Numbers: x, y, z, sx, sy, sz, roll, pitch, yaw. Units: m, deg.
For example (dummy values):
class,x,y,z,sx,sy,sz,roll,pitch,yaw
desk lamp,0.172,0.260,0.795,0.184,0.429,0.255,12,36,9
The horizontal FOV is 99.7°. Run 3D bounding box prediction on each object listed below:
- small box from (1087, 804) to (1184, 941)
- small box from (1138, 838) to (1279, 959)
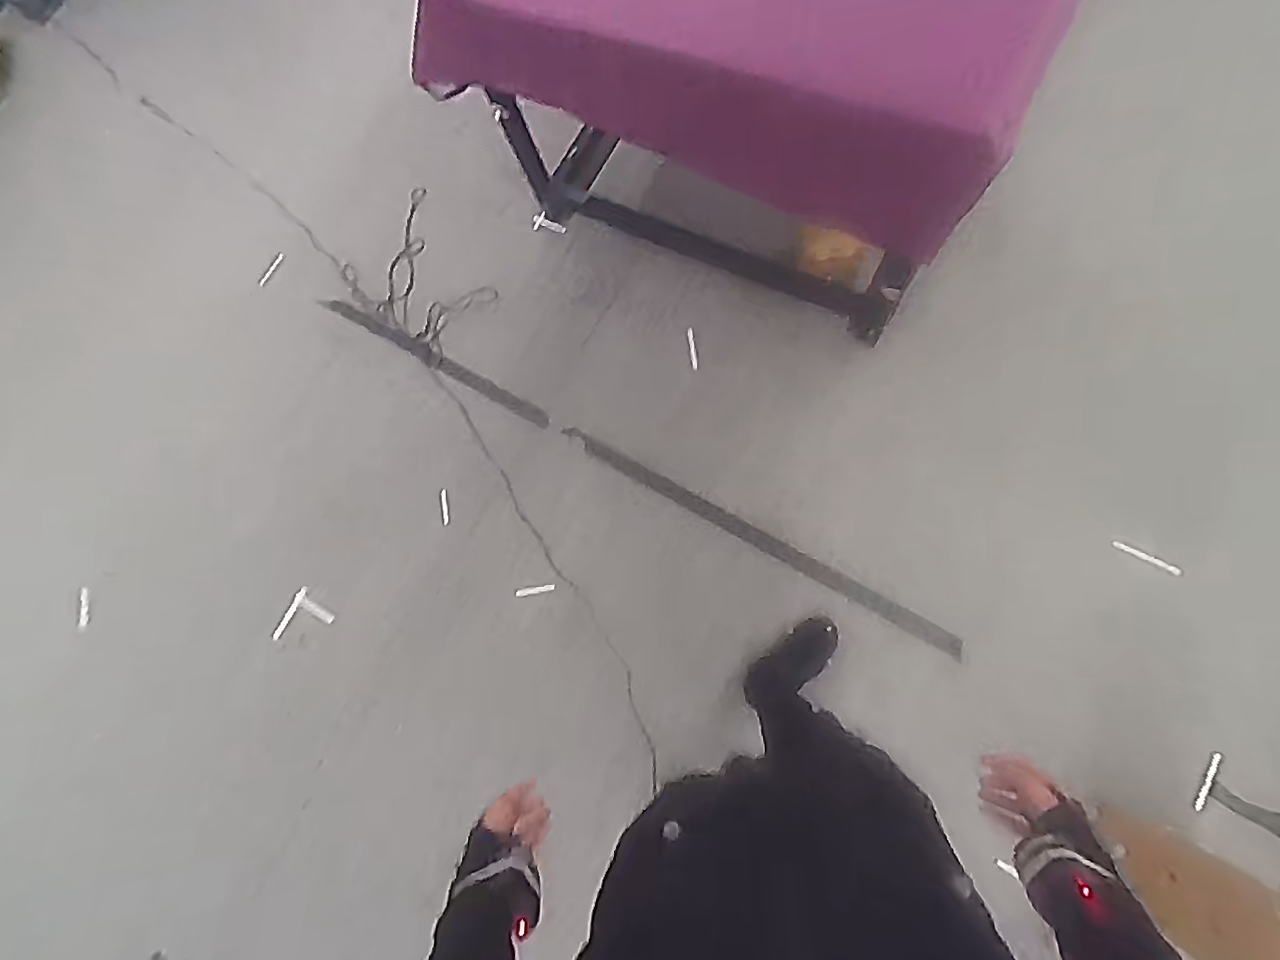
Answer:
class,x,y,z,sx,sy,sz,roll,pitch,yaw
small box,1.061,0.806,1.095,0.168,0.176,0.179,26,82,16
small box,1.042,0.771,0.937,0.179,0.176,0.168,30,84,17
